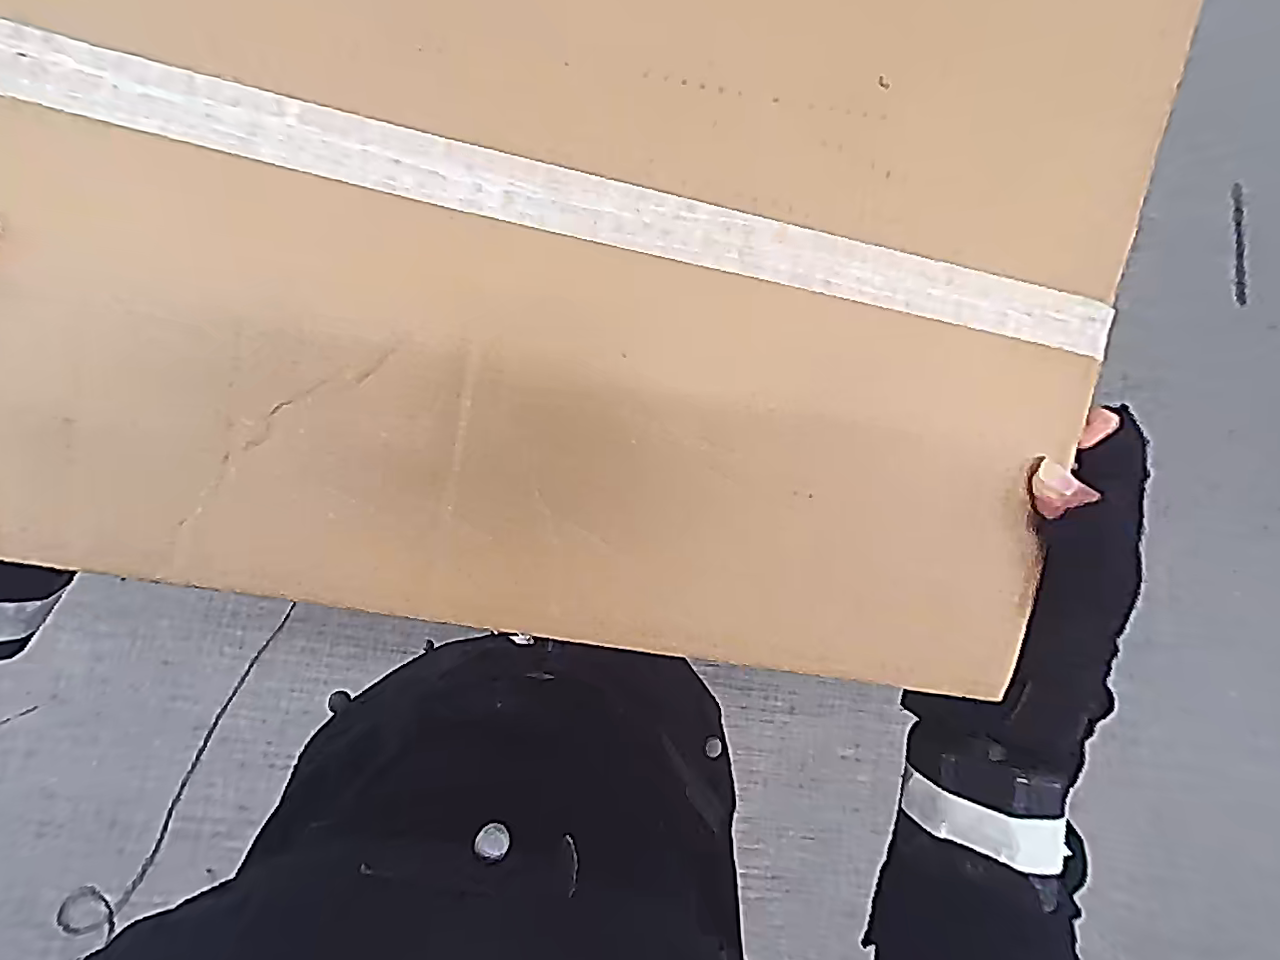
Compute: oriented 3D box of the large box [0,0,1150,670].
[{"bbox_3d":[-0.032,-0.112,0.349,0.408,0.320,0.320,10,96,-8],"label":"large box"}]
